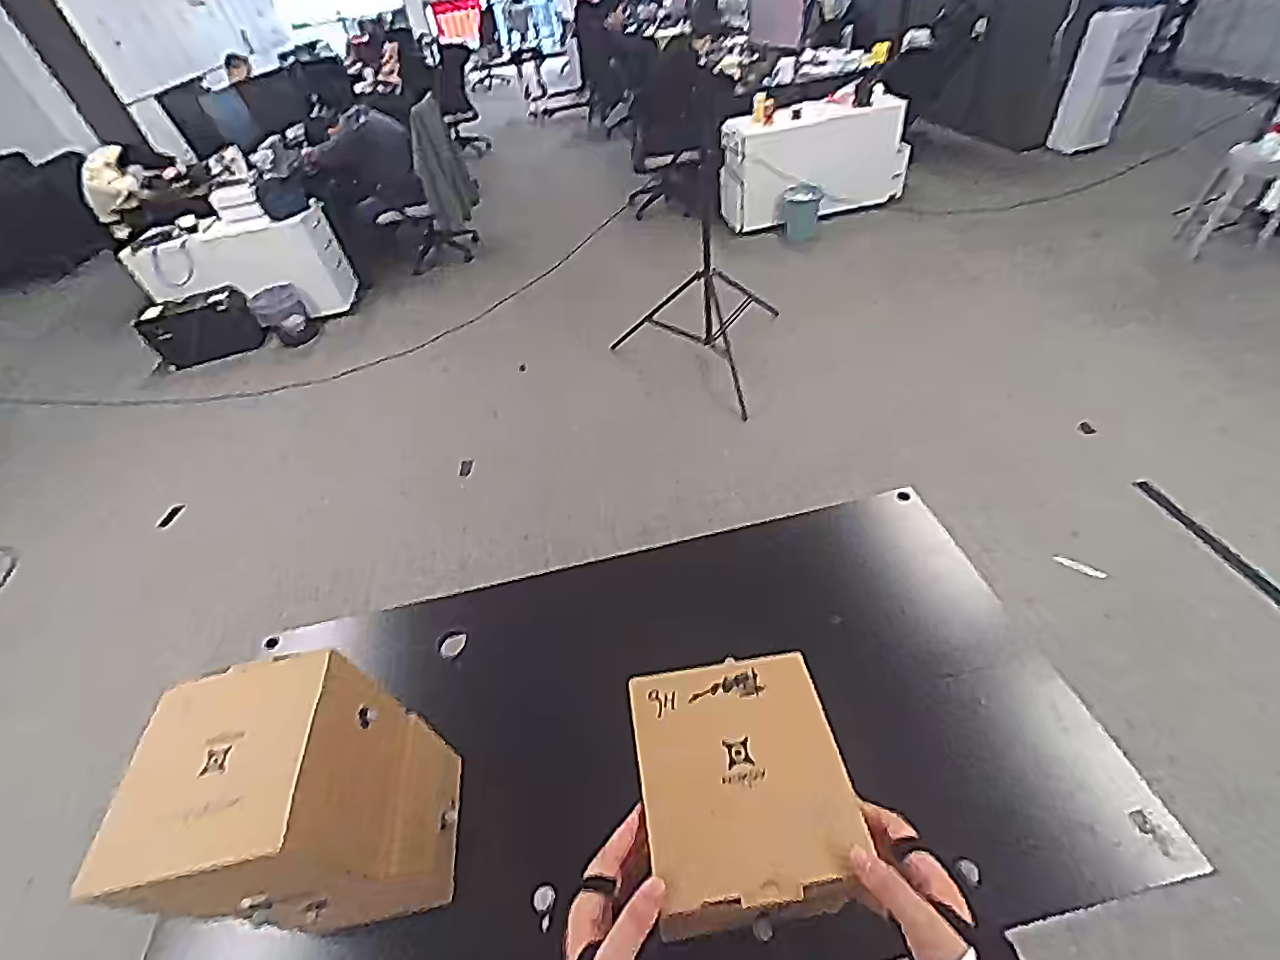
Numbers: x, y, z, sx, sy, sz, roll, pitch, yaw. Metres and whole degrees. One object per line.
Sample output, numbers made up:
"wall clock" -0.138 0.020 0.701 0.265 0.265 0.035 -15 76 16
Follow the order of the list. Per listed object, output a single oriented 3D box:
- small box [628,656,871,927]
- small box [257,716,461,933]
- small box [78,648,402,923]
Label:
"small box" 0.085 0.292 0.502 0.168 0.176 0.179 -8 46 -3
"small box" -0.333 0.411 0.644 0.179 0.176 0.168 -11 44 -3
"small box" -0.354 0.298 0.529 0.168 0.176 0.179 -13 45 -2
